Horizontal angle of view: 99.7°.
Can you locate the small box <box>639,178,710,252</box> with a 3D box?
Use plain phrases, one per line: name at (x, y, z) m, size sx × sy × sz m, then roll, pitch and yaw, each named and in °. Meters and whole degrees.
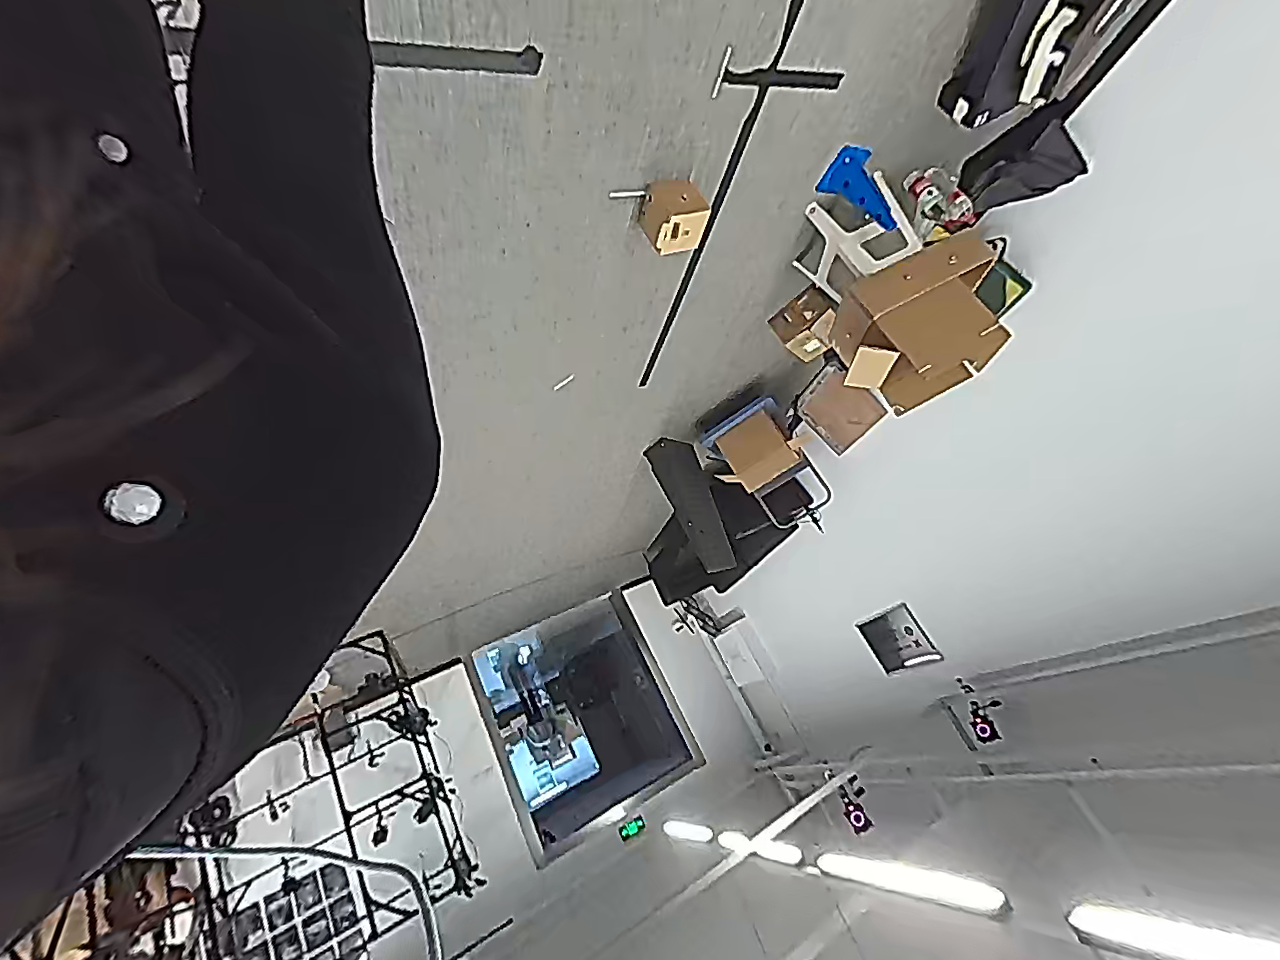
small box at (0.118, -0.956, 1.947) m, size 0.179 × 0.176 × 0.168 m, roll -21°, pitch 159°, yaw -24°
